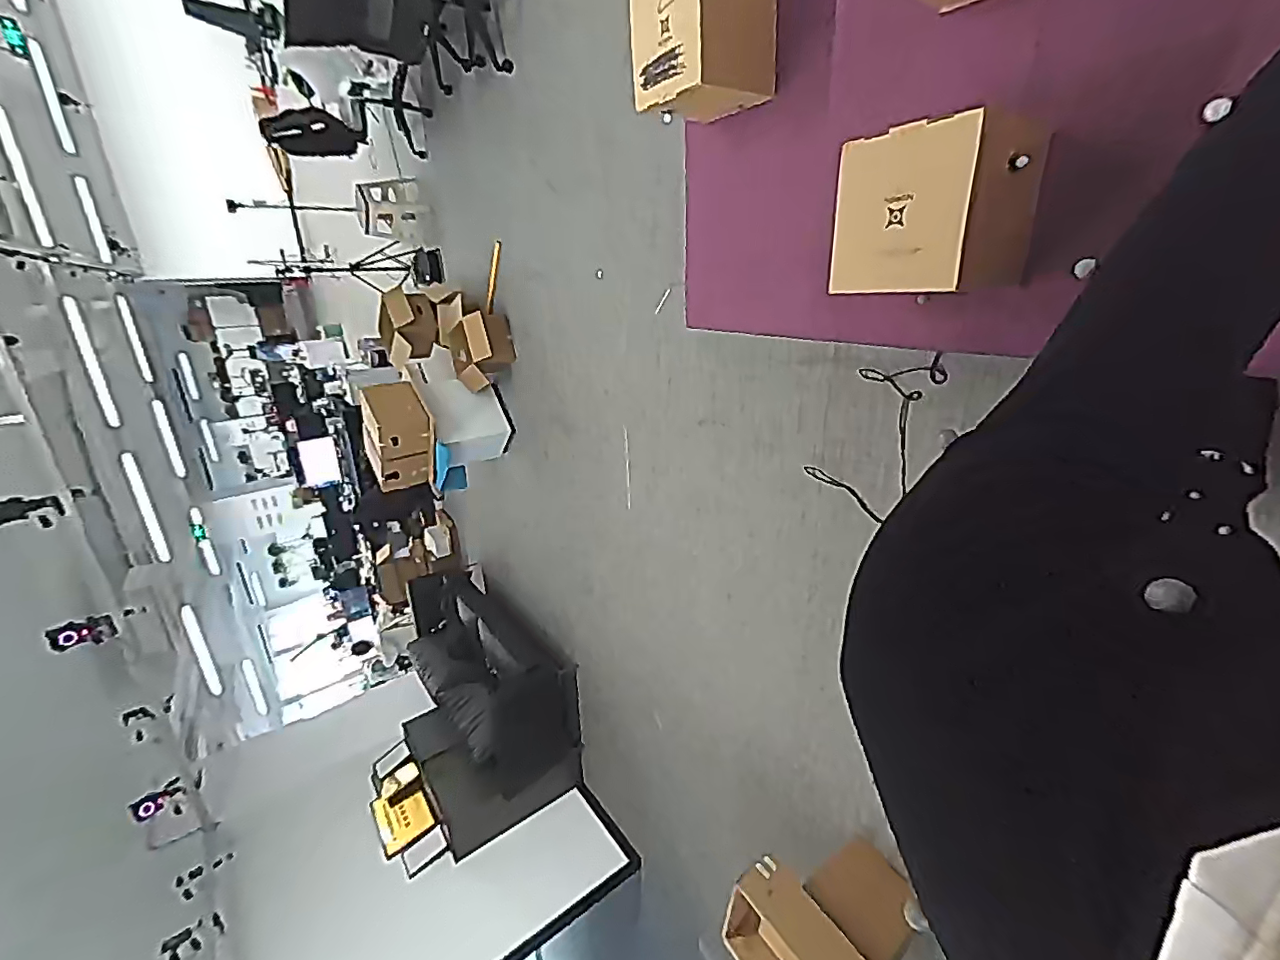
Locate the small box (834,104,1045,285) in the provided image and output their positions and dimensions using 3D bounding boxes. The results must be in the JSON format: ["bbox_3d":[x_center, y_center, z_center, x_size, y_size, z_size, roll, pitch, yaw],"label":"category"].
[{"bbox_3d":[0.375,-0.342,0.685,0.168,0.176,0.179,26,123,51],"label":"small box"}]
